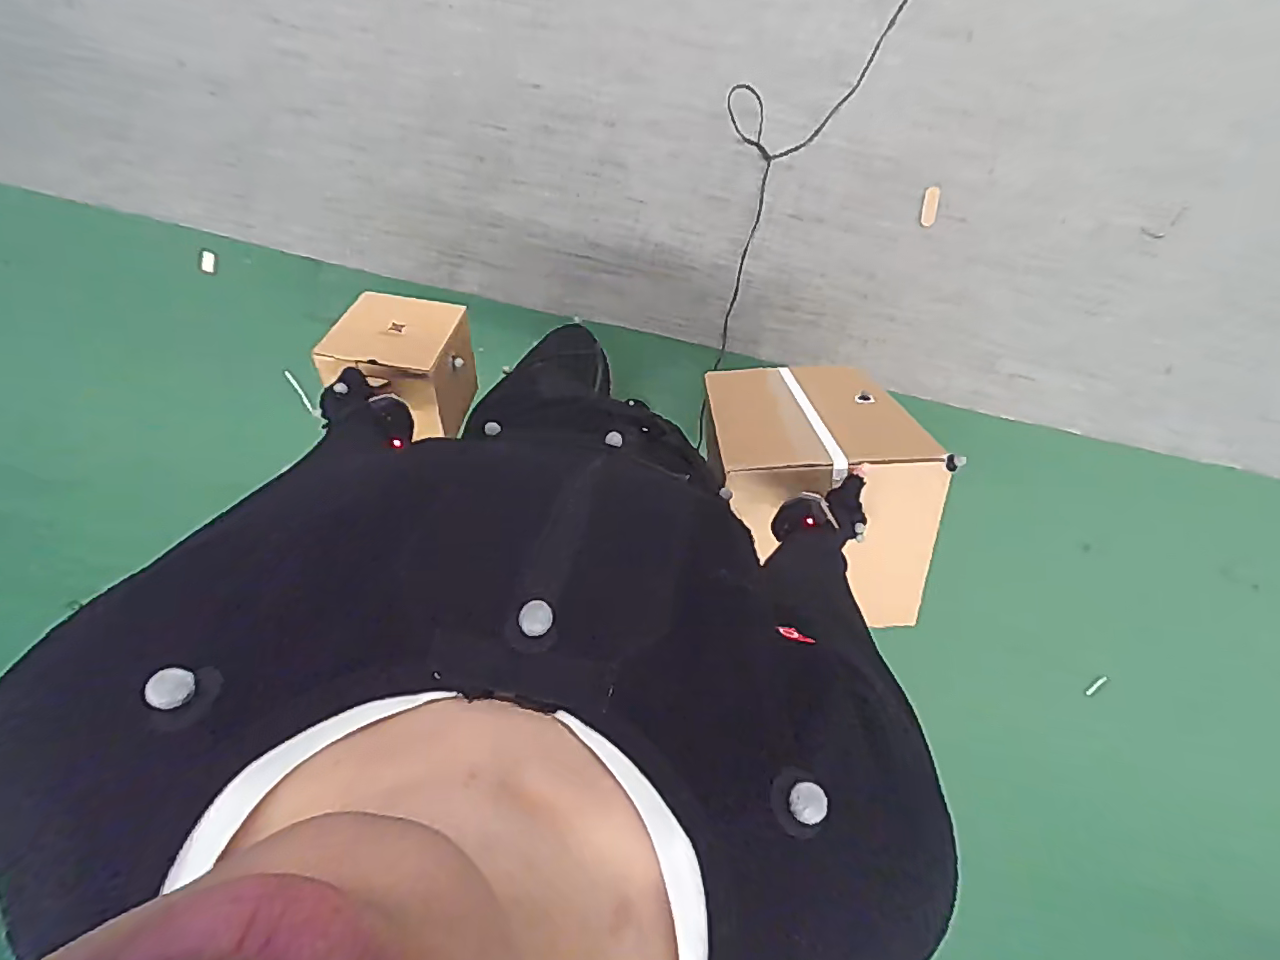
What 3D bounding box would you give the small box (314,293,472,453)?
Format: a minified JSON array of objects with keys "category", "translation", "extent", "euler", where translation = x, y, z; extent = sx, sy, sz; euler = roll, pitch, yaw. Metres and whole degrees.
[{"category":"small box","translation":[-0.378,-0.170,0.869],"extent":[0.168,0.179,0.176],"euler":[8,139,-2]}]
